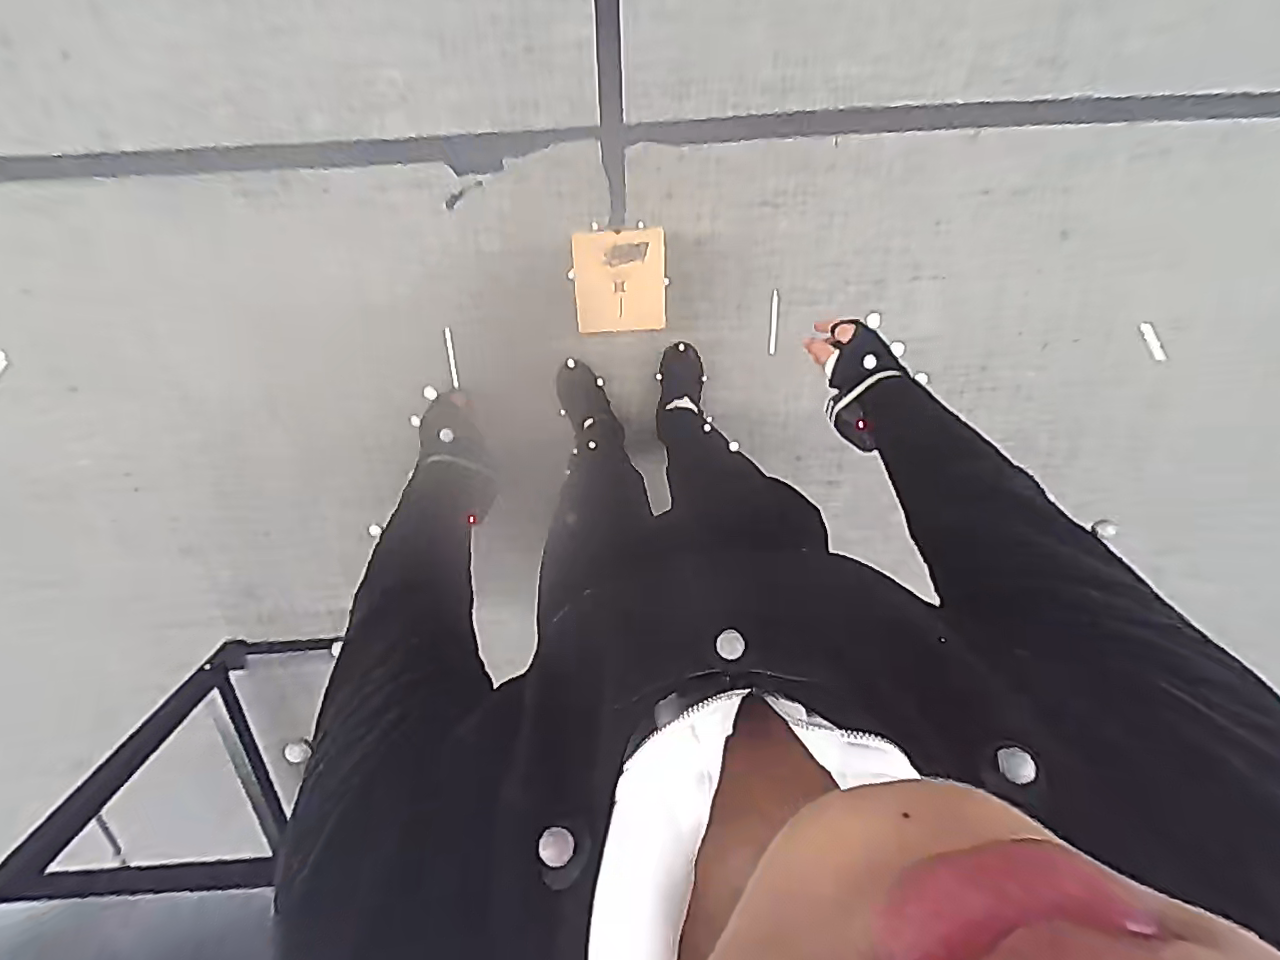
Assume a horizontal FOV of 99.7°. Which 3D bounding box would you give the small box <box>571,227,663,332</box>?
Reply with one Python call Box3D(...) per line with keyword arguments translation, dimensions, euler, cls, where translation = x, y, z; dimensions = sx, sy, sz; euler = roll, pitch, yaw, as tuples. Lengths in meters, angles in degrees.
Box3D(translation=(-0.046, -0.391, 1.054), dimensions=(0.168, 0.176, 0.179), euler=(-3, 114, -3), cls="small box")
